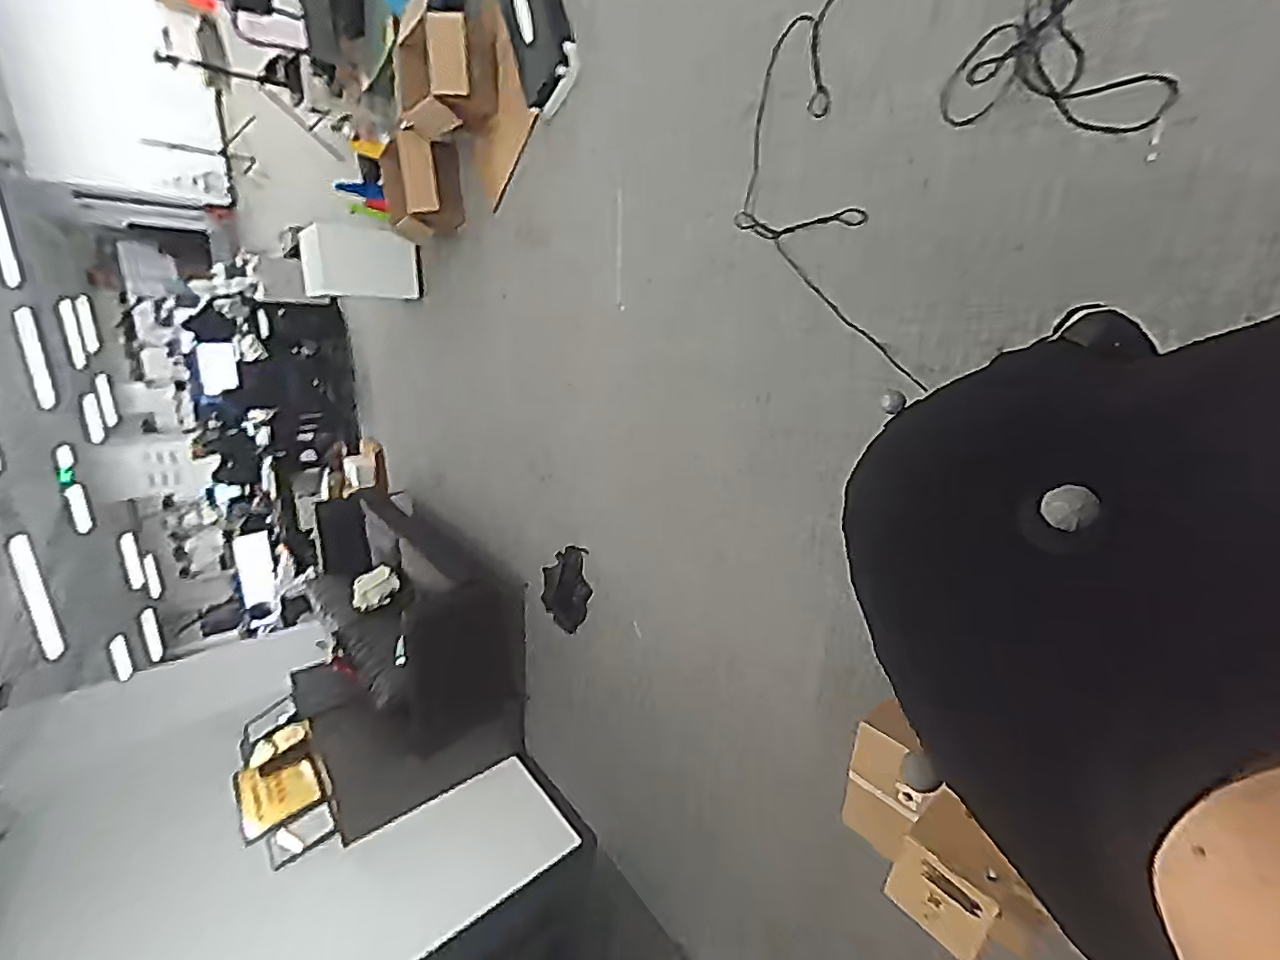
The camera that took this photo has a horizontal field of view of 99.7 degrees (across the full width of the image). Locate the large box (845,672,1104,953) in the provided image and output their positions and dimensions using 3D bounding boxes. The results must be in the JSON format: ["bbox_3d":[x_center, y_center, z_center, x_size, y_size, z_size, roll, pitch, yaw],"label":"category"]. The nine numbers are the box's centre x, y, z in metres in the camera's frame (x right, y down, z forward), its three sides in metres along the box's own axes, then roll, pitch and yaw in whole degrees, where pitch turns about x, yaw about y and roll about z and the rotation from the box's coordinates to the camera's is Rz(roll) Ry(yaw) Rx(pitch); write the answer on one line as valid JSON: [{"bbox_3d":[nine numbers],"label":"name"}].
[{"bbox_3d":[0.762,0.728,1.262,0.408,0.320,0.320,22,116,47],"label":"large box"}]
